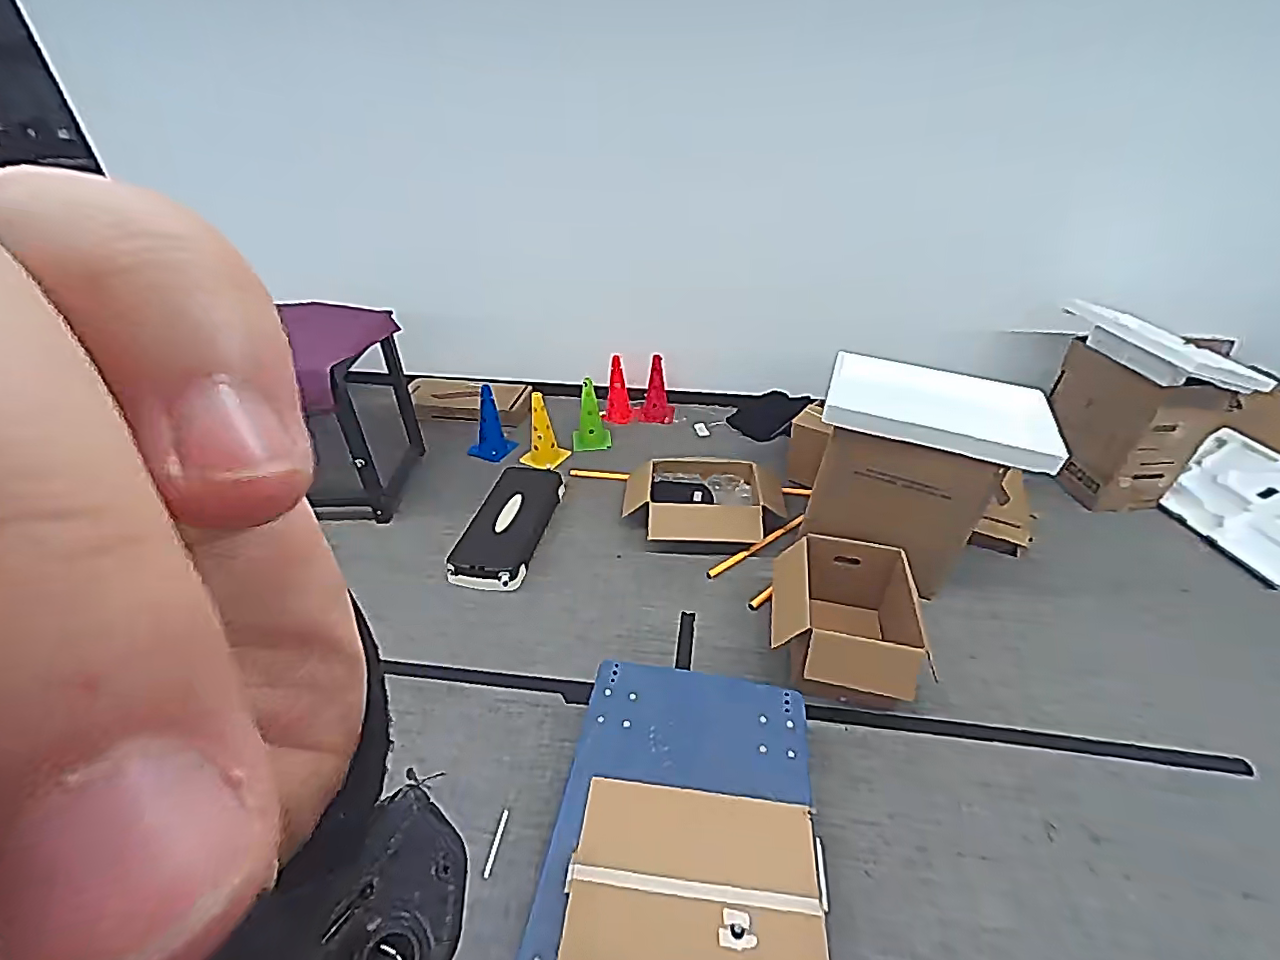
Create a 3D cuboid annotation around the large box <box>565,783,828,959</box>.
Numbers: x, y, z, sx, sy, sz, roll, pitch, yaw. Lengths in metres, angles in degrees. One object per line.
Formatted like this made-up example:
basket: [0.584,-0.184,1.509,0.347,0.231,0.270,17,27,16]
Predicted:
large box: [0.090,0.796,0.972,0.408,0.320,0.320,5,37,5]
